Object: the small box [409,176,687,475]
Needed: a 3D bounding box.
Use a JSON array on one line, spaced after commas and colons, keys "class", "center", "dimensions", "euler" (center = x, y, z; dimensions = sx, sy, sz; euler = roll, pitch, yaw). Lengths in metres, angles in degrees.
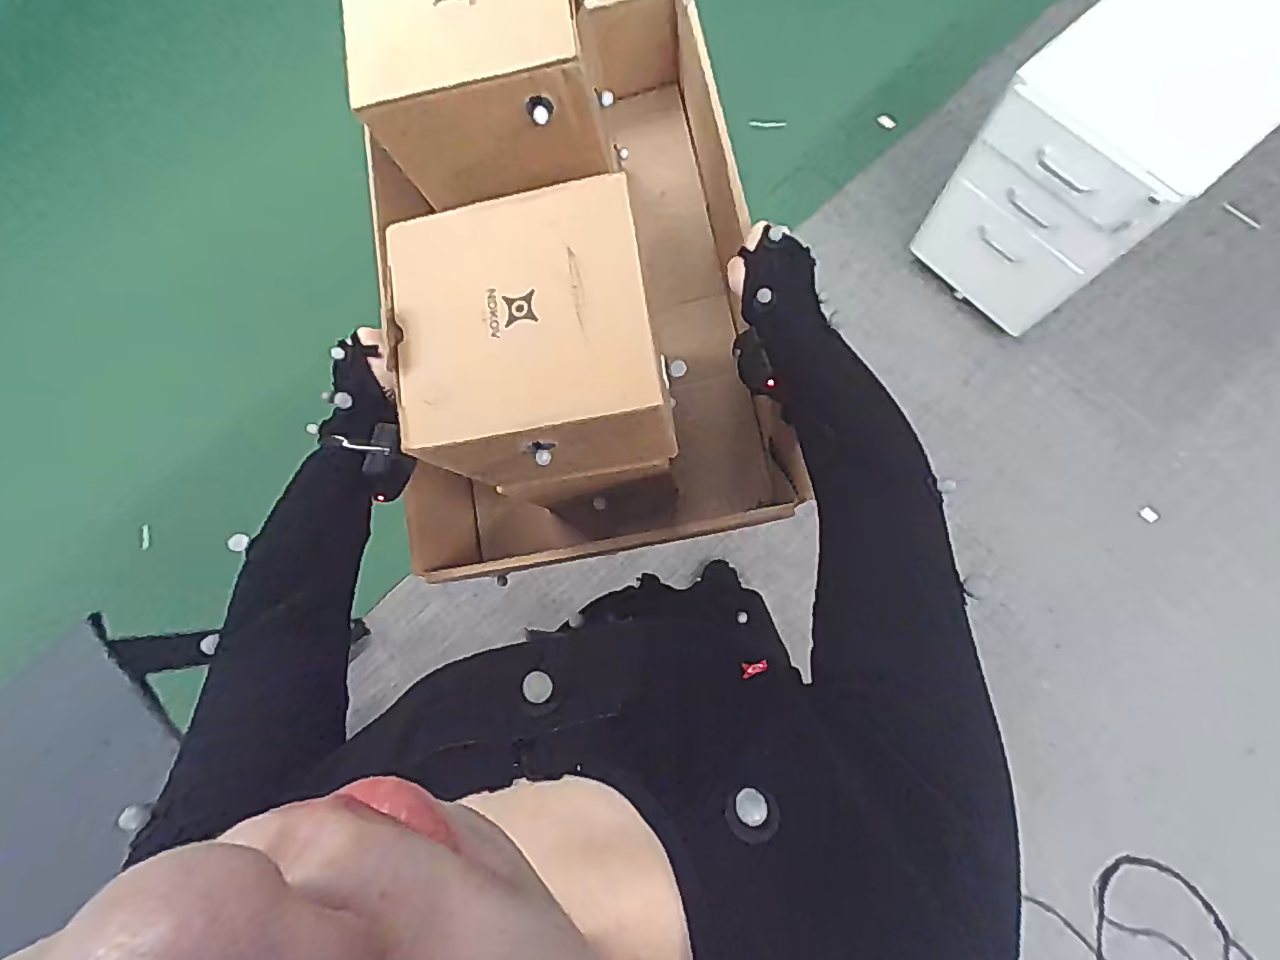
[{"class": "small box", "center": [-0.061, -0.104, 0.443], "dimensions": [0.179, 0.176, 0.168], "euler": [-9, 81, 5]}]
